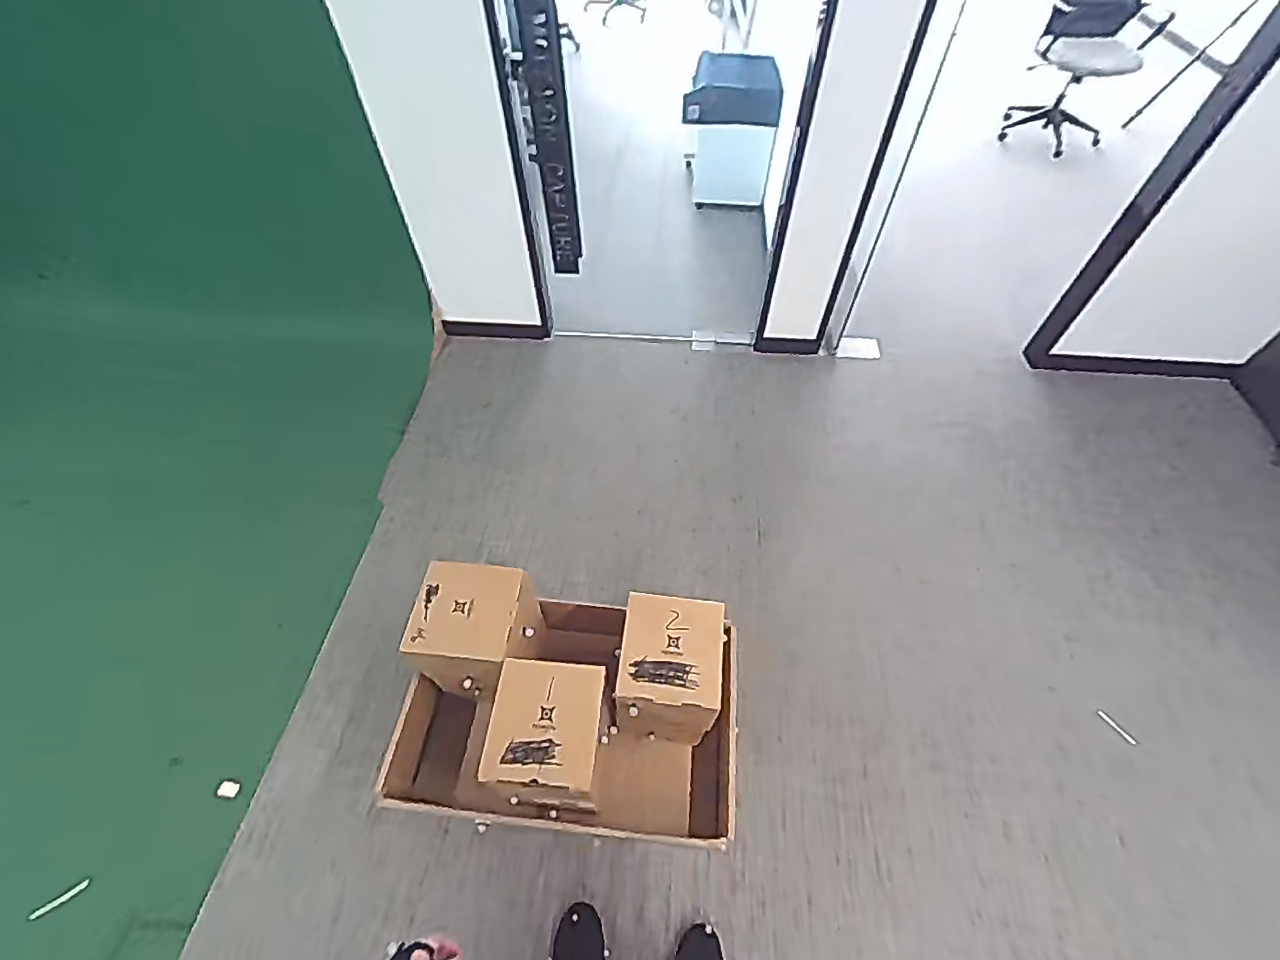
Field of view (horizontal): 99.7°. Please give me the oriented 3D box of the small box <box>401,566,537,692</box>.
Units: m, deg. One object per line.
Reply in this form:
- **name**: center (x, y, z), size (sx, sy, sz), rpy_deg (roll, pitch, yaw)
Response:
- **small box**: center (-0.294, 0.274, 0.978), size (0.179, 0.176, 0.168), rpy_deg (6, 54, 3)
